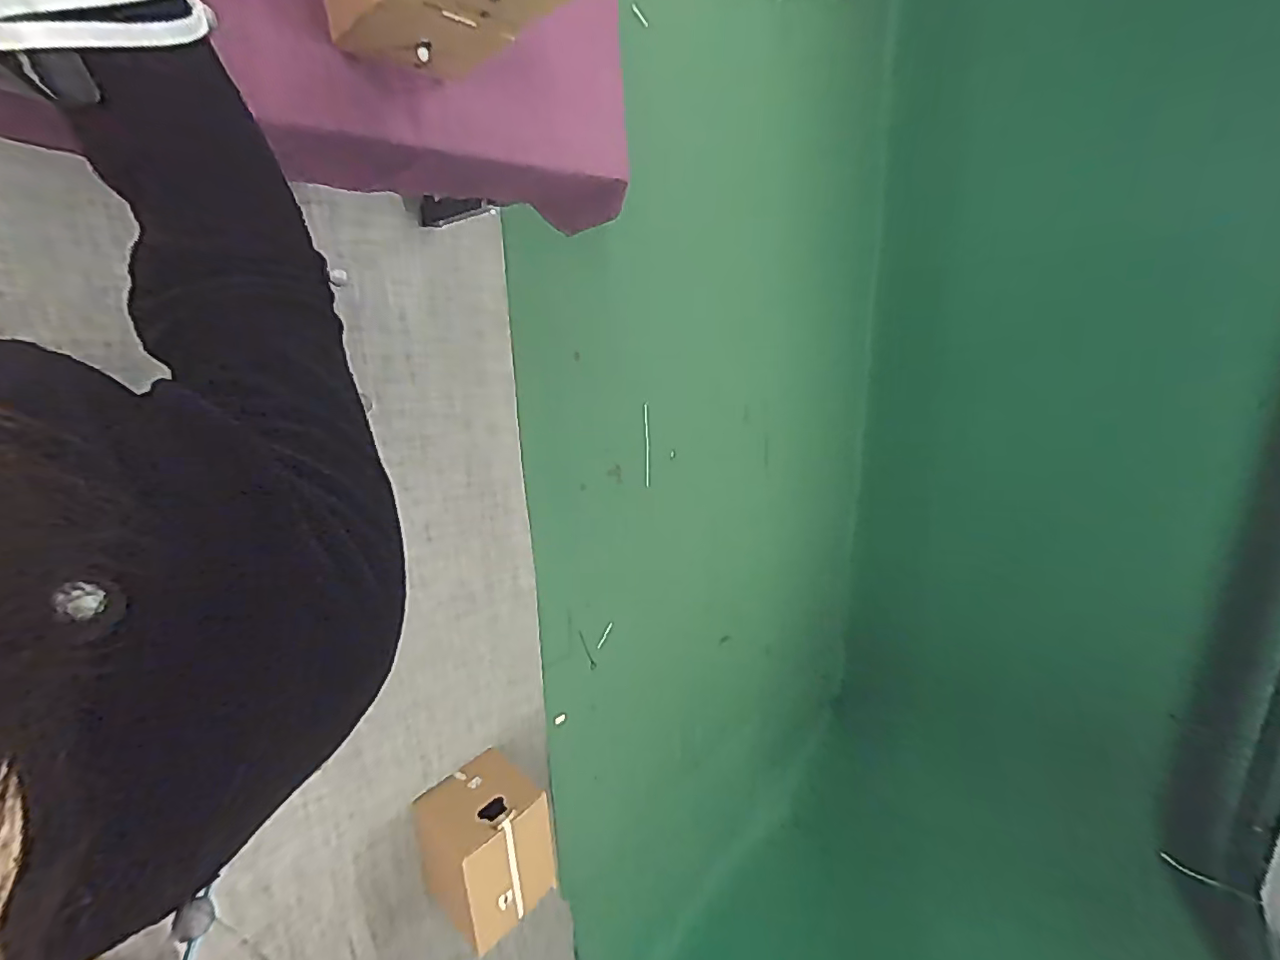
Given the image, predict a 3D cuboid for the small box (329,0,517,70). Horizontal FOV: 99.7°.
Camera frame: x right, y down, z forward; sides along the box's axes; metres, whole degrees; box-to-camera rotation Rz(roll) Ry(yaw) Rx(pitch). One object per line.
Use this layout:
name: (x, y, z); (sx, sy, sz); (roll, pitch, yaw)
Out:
small box: (-0.273, -0.639, 0.657); (0.168, 0.176, 0.179); (-21, 115, -45)

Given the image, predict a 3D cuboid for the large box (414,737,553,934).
large box: (-0.529, 1.191, 1.851); (0.320, 0.320, 0.408); (-20, 116, -45)

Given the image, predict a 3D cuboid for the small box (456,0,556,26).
small box: (-0.153, -0.611, 0.547); (0.168, 0.176, 0.179); (-21, 114, -44)
